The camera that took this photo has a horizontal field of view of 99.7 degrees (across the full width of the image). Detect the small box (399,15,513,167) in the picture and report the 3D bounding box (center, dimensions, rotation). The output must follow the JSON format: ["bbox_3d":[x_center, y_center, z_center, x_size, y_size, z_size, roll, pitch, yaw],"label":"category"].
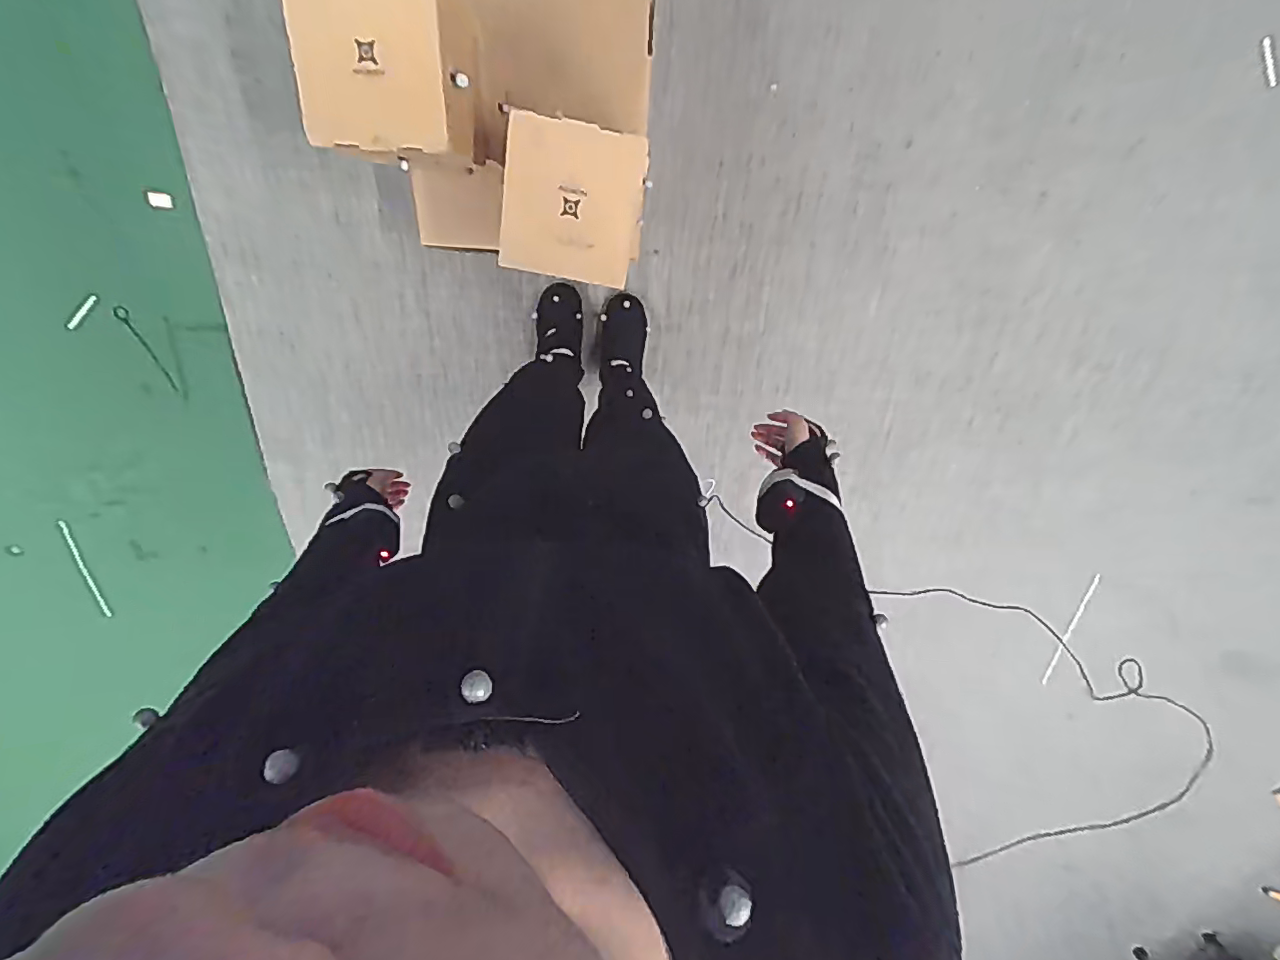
[{"bbox_3d":[-0.292,-0.576,0.814,0.179,0.176,0.168,2,115,-1],"label":"small box"}]

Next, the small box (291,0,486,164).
[{"bbox_3d":[-0.295,-0.505,0.668,0.168,0.176,0.179,3,116,-2],"label":"small box"}]

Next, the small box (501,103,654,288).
[{"bbox_3d":[-0.082,-0.376,0.731,0.168,0.176,0.179,10,116,-6],"label":"small box"}]
